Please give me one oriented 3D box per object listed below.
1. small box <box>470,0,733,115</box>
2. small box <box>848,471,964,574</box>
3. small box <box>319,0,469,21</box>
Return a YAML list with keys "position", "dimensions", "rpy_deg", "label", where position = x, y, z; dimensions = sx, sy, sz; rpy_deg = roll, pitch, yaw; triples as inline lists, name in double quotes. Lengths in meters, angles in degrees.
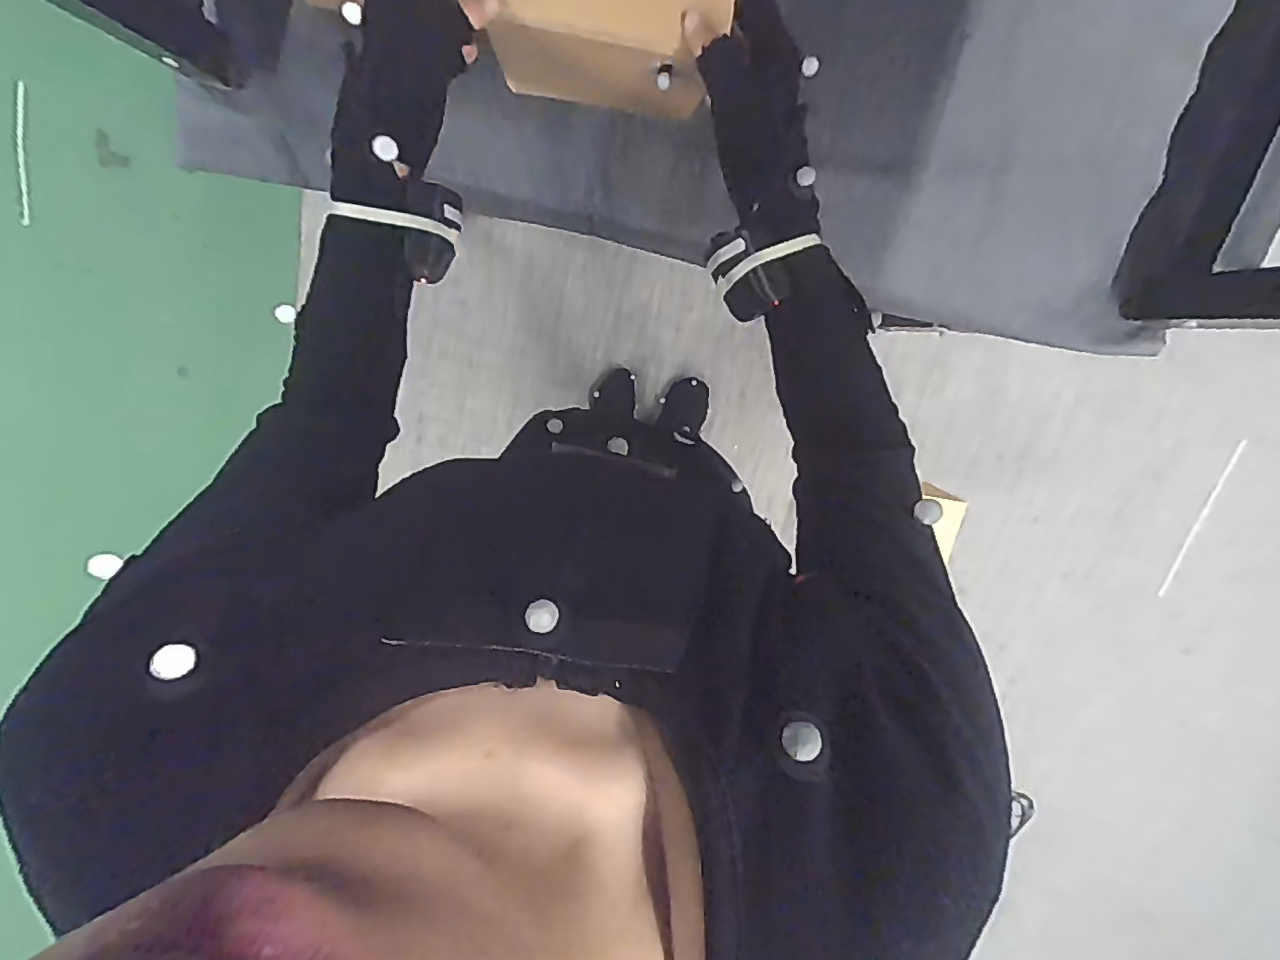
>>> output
- position: [-0.023, -0.405, 0.414]
  dimensions: [0.179, 0.176, 0.168]
  rpy_deg: [5, 112, -8]
  label: "small box"
- position: [0.608, 0.094, 1.262]
  dimensions: [0.168, 0.176, 0.179]
  rpy_deg: [10, 105, -2]
  label: "small box"
- position: [-0.264, -0.561, 0.490]
  dimensions: [0.179, 0.176, 0.168]
  rpy_deg: [7, 107, -2]
  label: "small box"
